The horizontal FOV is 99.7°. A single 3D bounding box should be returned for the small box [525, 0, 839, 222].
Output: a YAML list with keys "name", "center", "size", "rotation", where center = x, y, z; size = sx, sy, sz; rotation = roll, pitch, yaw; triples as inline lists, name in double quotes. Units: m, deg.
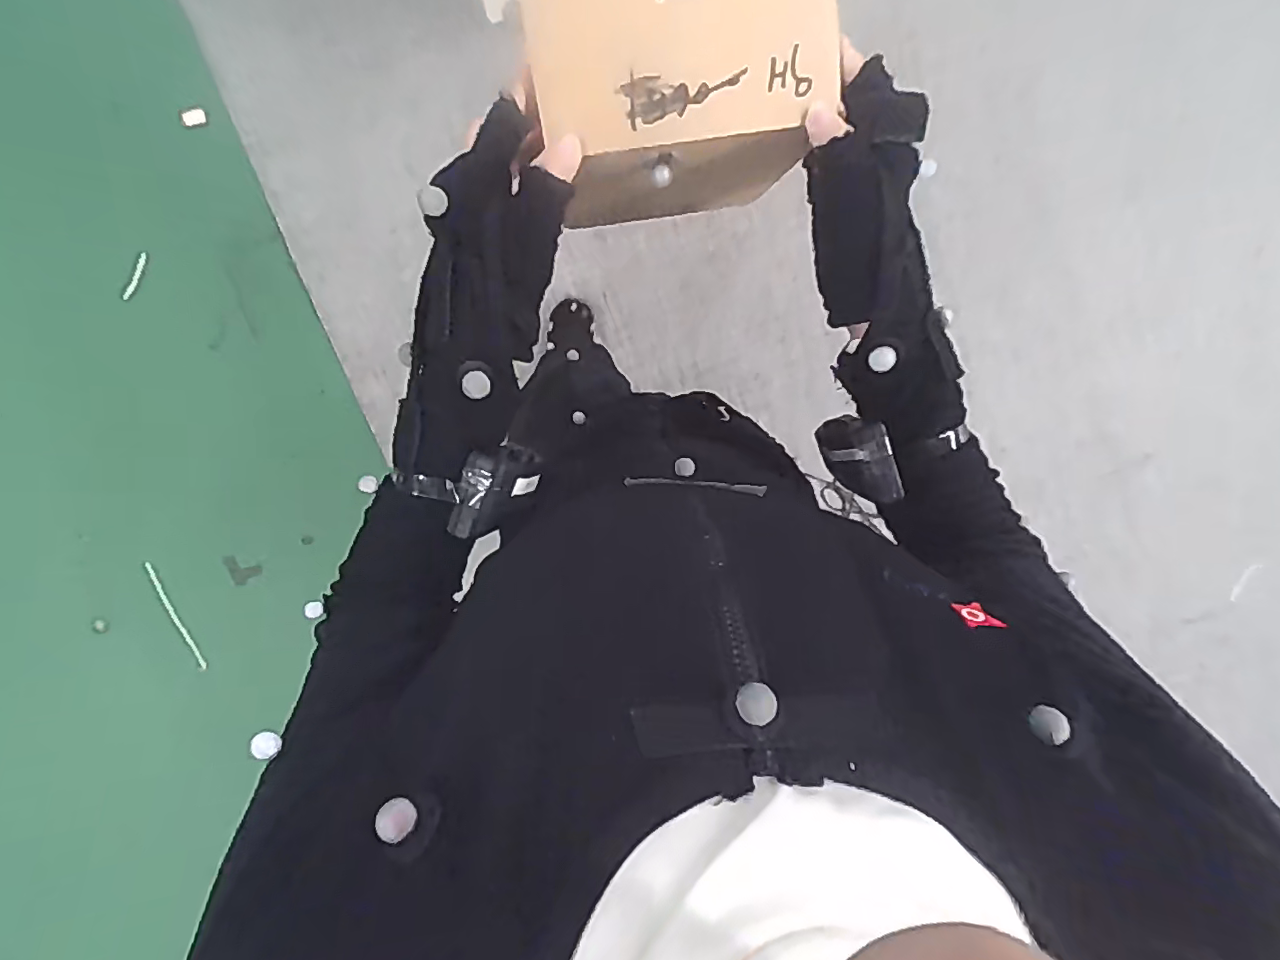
- name: "small box"
  center: [0.013, -0.290, 0.355]
  size: [0.168, 0.176, 0.179]
  rotation: [-9, 105, -1]
